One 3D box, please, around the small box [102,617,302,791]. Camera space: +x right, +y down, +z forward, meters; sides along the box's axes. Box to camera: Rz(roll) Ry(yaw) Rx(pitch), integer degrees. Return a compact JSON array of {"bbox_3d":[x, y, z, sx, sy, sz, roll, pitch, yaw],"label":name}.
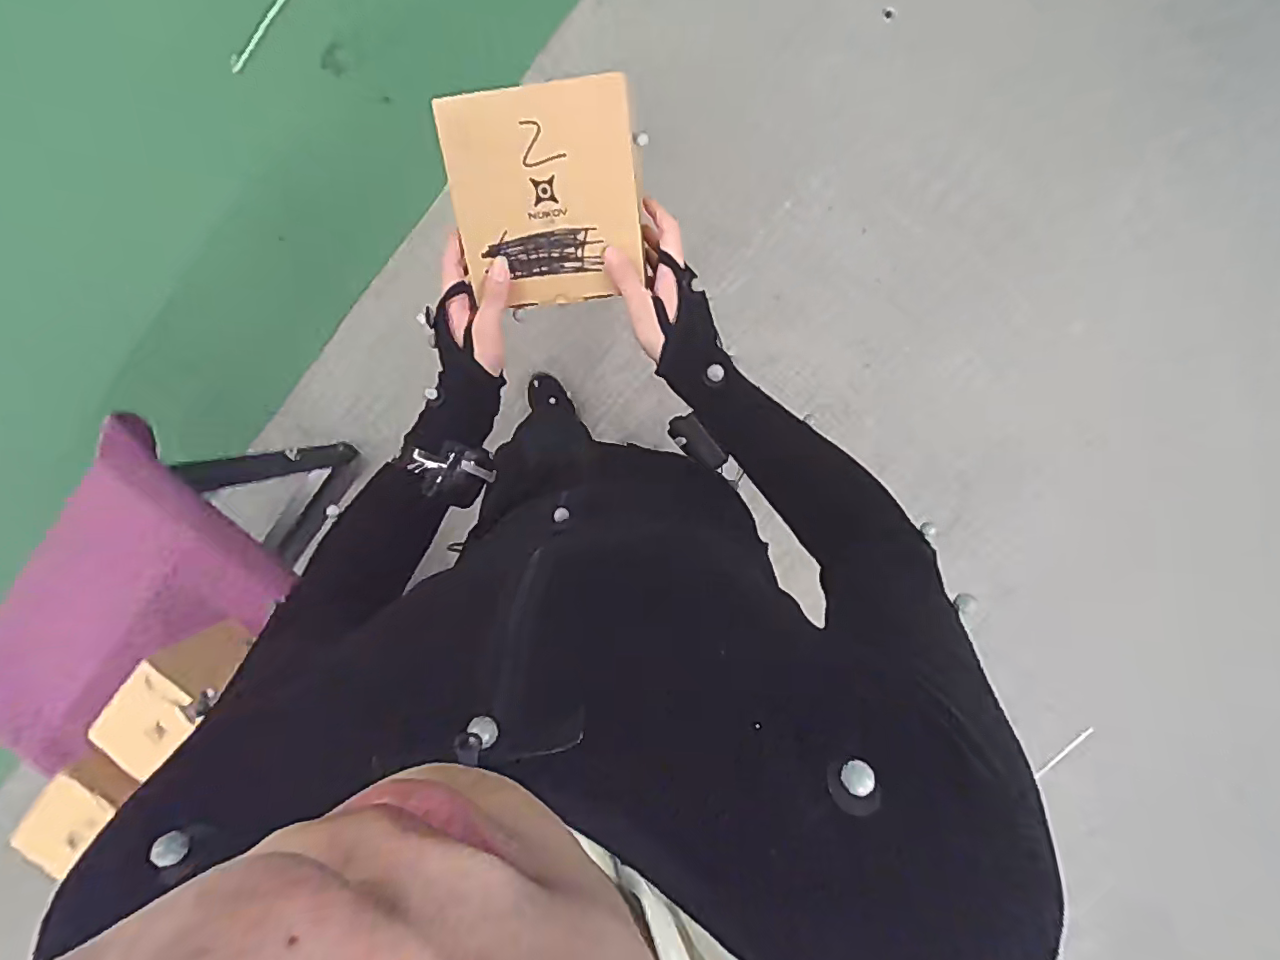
[{"bbox_3d":[-0.731,0.371,0.923,0.168,0.176,0.179,42,100,-3],"label":"small box"}]
